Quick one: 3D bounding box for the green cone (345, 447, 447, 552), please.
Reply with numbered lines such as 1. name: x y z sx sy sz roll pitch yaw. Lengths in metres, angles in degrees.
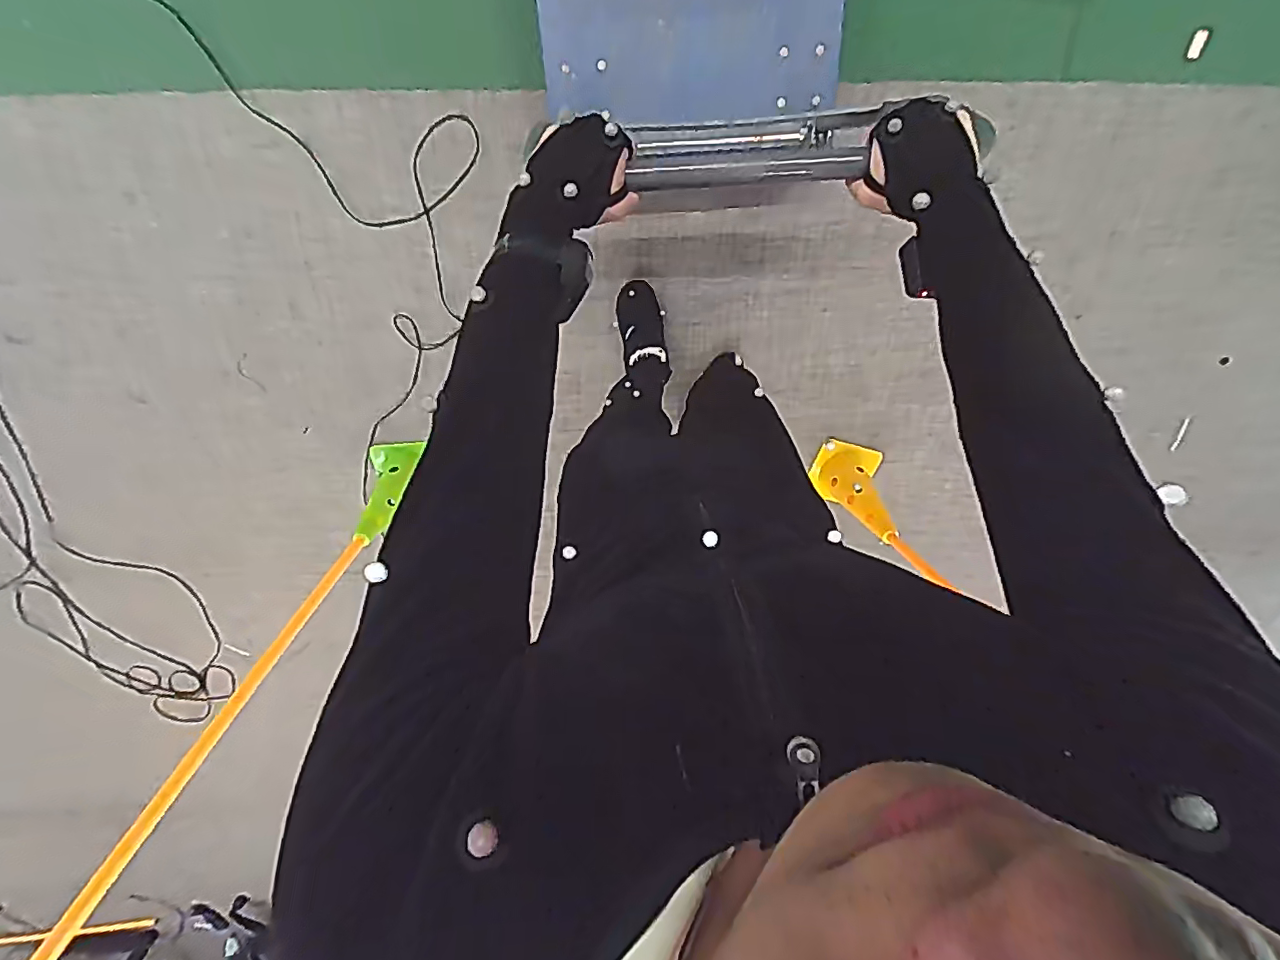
1. green cone: -0.700 0.074 1.485 0.202 0.368 0.200 -4 118 2
